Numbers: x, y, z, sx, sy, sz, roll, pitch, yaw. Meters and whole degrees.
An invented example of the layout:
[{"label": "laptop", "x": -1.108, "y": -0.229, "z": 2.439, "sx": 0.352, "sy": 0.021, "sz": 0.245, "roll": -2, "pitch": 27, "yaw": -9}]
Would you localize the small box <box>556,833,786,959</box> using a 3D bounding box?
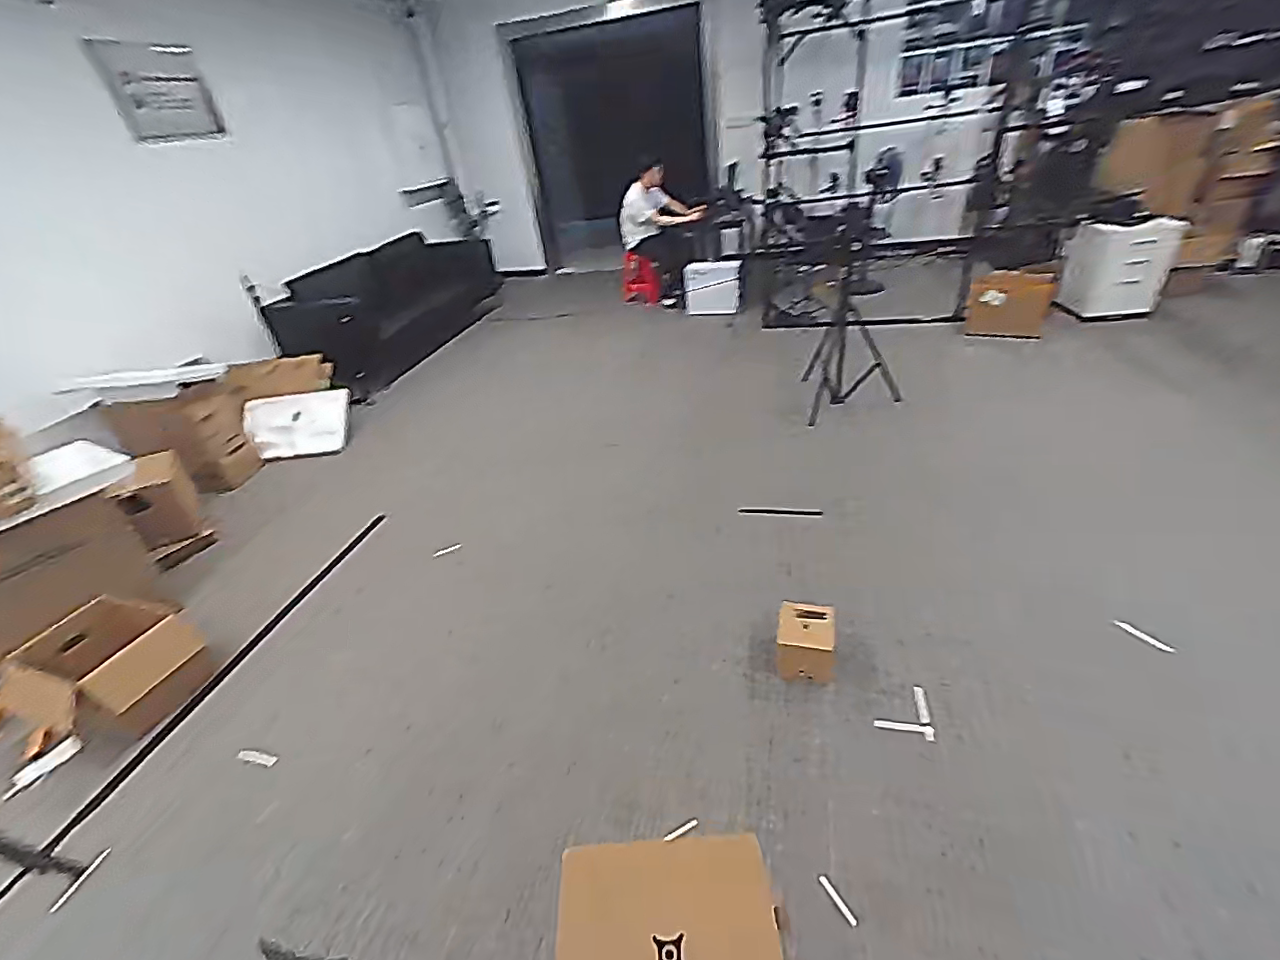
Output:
[{"label": "small box", "x": 0.026, "y": 0.411, "z": 0.415, "sx": 0.168, "sy": 0.176, "sz": 0.179, "roll": -4, "pitch": 28, "yaw": 1}]
